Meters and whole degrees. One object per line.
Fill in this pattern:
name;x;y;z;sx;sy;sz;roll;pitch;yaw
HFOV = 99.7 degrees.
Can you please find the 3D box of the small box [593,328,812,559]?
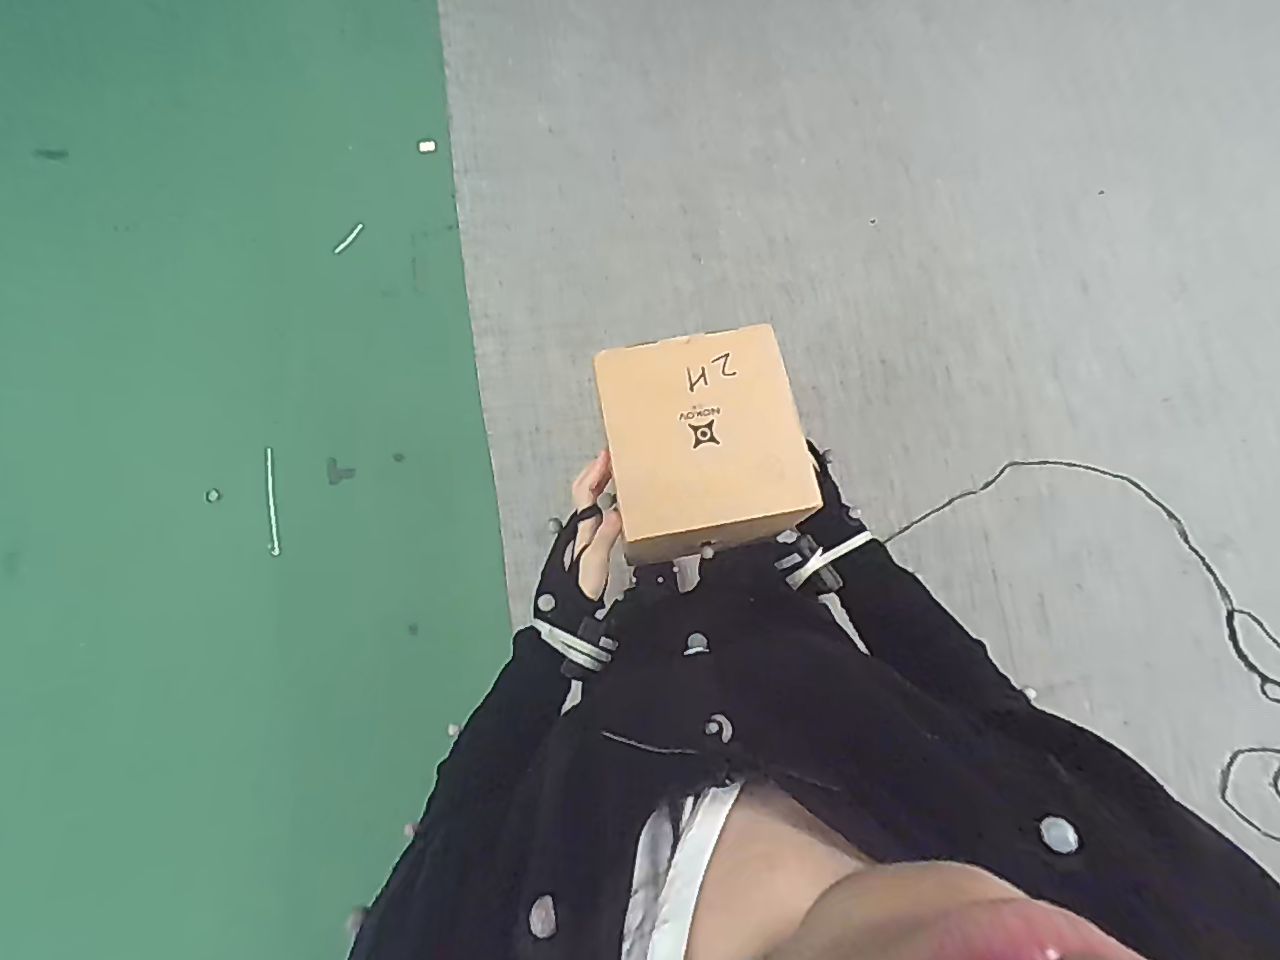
small box;0.050;-0.022;0.540;0.168;0.176;0.179;-9;73;-3
